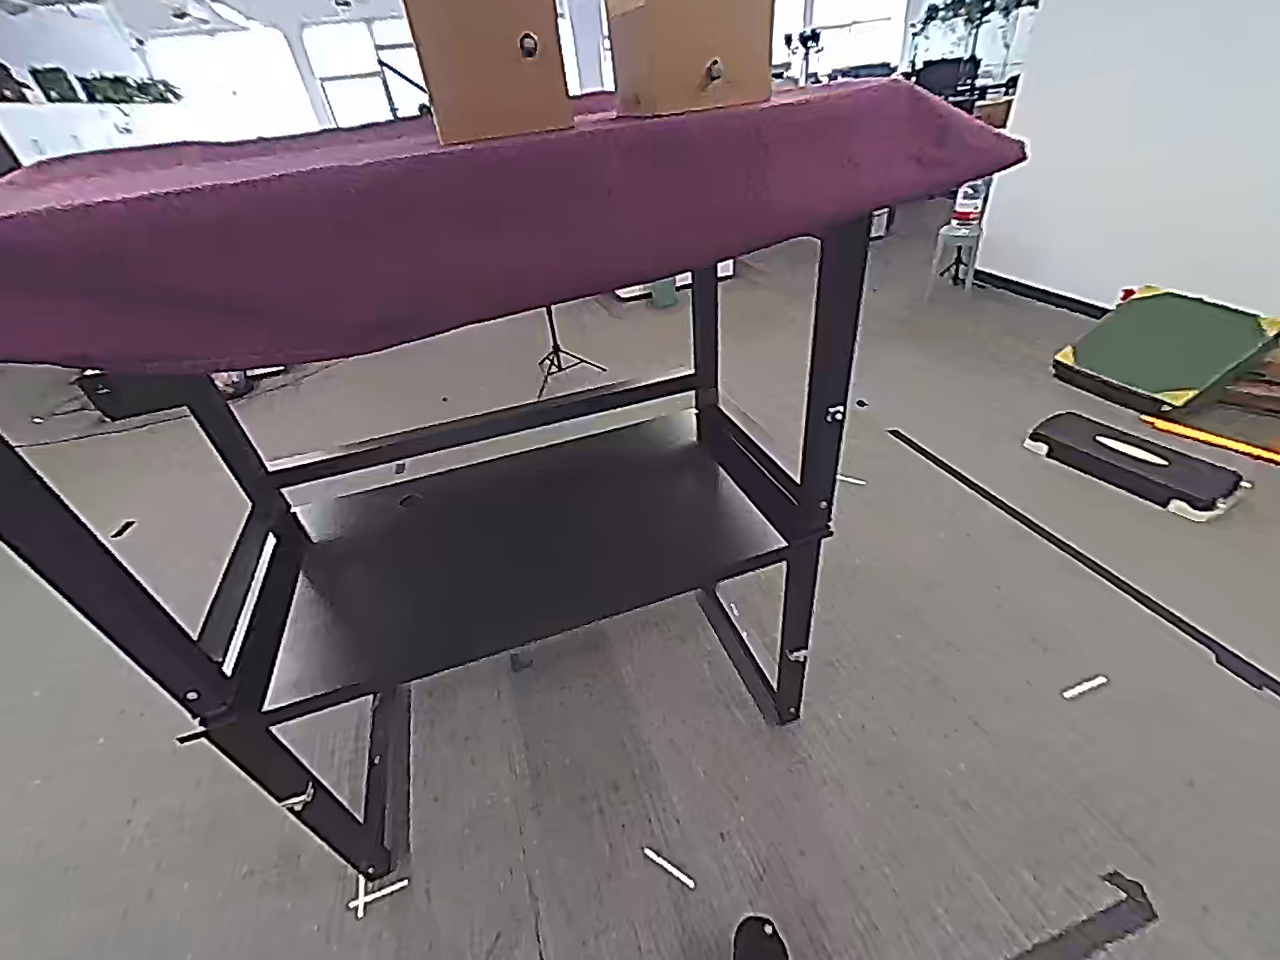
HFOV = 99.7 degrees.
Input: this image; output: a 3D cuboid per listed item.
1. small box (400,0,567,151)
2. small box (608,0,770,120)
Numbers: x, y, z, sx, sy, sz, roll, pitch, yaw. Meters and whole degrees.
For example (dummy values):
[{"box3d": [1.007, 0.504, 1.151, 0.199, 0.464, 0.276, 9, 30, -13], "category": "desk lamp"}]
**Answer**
[{"box3d": [-0.200, -0.546, 0.709, 0.179, 0.176, 0.168, -16, 36, -11], "category": "small box"}, {"box3d": [0.062, -0.600, 0.733, 0.179, 0.176, 0.168, -17, 36, -13], "category": "small box"}]
